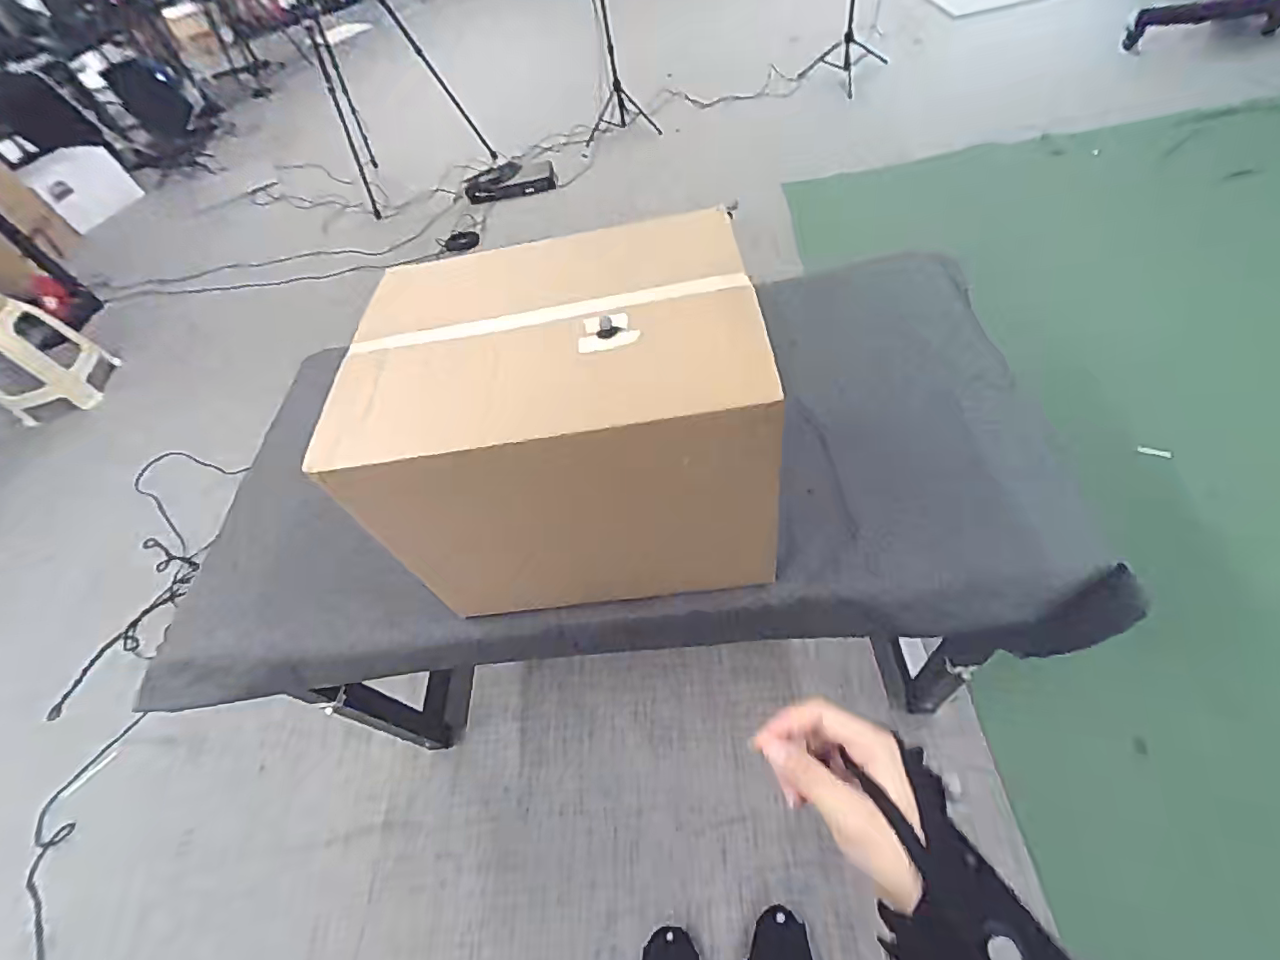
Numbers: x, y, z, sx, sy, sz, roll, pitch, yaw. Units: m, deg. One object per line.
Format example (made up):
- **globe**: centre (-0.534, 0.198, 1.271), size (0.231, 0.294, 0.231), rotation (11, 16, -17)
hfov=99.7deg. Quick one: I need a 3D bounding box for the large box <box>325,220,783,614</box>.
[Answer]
- **large box**: centre (-0.066, -0.061, 0.657), size (0.408, 0.320, 0.320), rotation (-8, 52, 5)
